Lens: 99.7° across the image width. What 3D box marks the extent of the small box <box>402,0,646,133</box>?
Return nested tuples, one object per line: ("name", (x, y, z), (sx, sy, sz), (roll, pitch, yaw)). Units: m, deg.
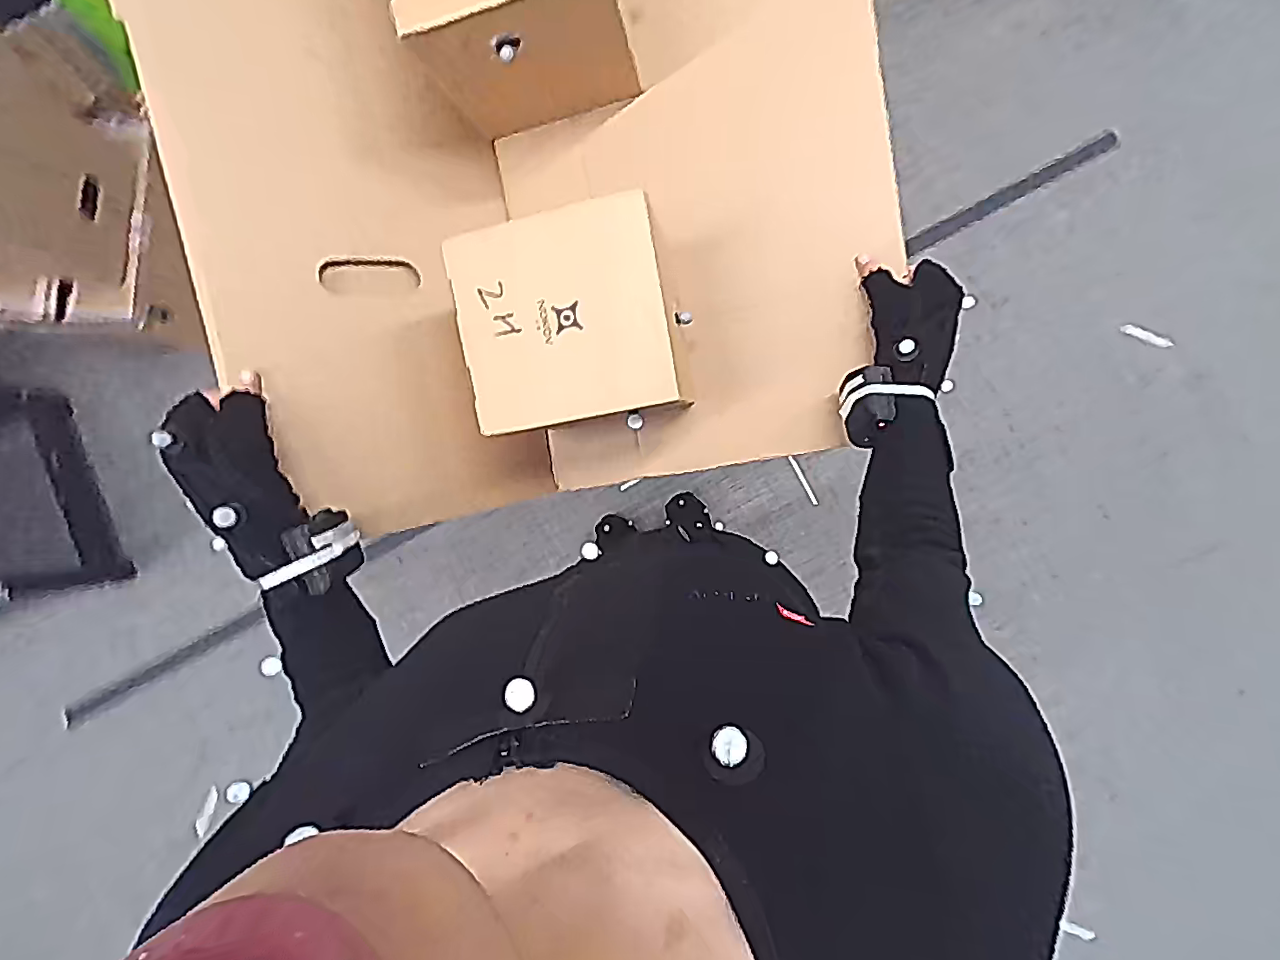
("small box", (-0.103, -0.457, 0.496), (0.179, 0.176, 0.168), (-9, 96, 11))
